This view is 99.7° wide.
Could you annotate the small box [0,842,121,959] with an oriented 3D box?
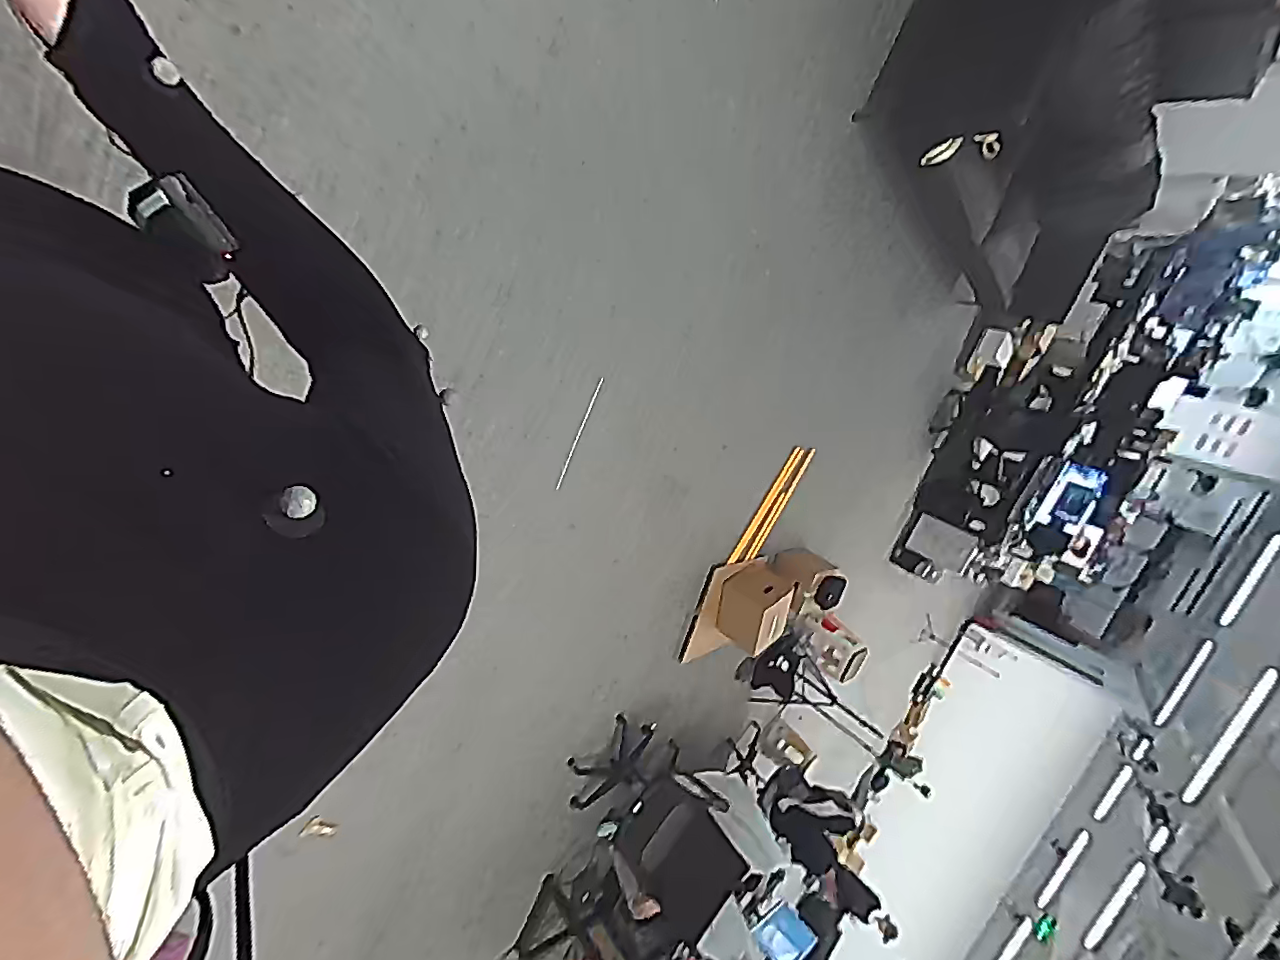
[{"bbox_3d":[-0.866,0.675,0.773,0.168,0.176,0.179,7,107,-47],"label":"small box"}]
